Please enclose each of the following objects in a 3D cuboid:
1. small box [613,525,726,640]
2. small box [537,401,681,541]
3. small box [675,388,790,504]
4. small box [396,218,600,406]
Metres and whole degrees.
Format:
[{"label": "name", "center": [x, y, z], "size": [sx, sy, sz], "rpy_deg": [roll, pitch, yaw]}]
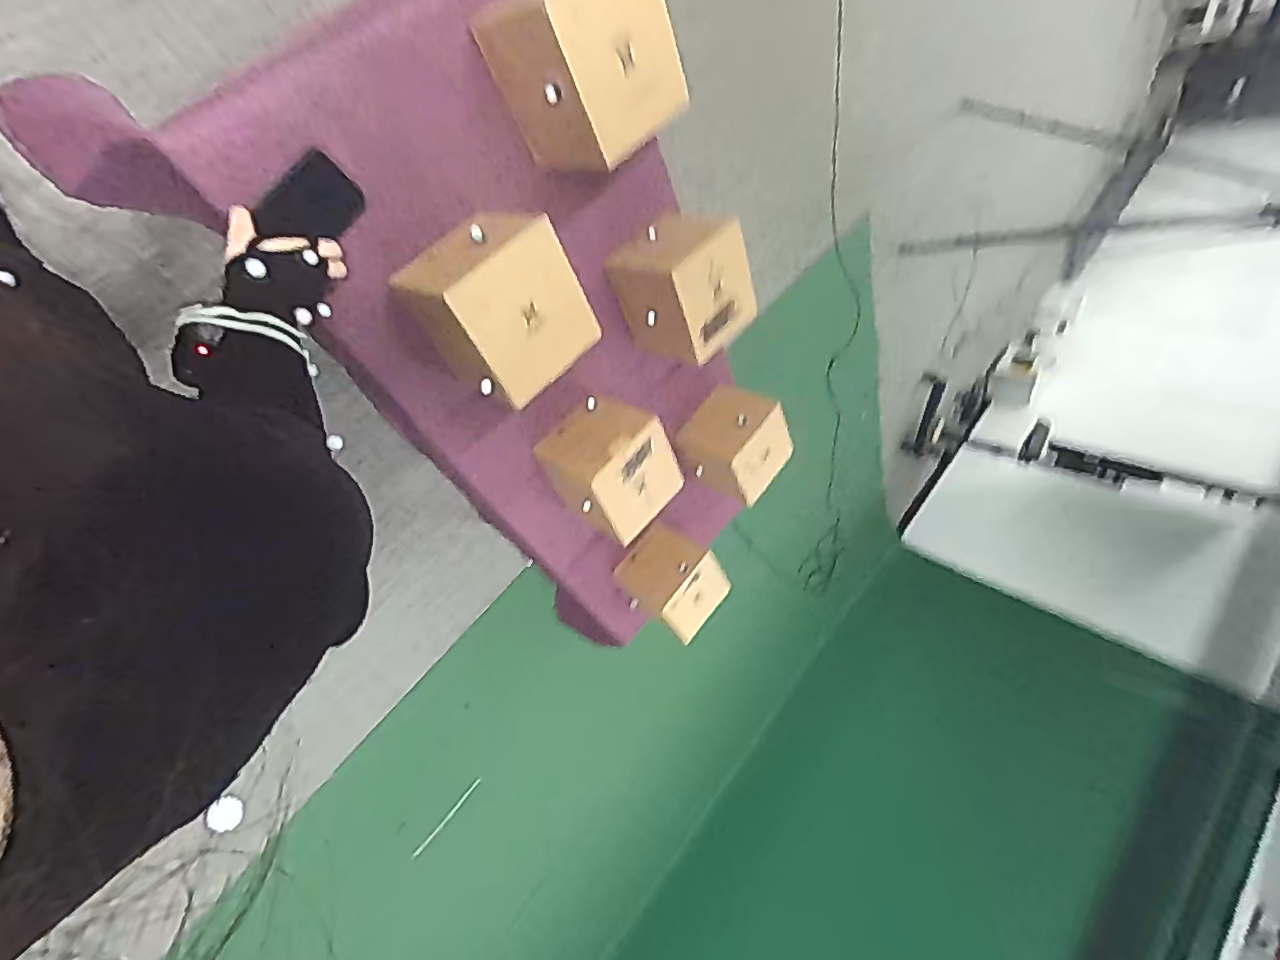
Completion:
[{"label": "small box", "center": [0.069, 0.231, 1.254], "size": [0.168, 0.176, 0.179], "rpy_deg": [-48, 138, -17]}, {"label": "small box", "center": [-0.056, -0.025, 0.987], "size": [0.168, 0.176, 0.179], "rpy_deg": [-45, 137, -19]}, {"label": "small box", "center": [0.211, -0.083, 1.230], "size": [0.179, 0.176, 0.168], "rpy_deg": [-49, 137, -15]}, {"label": "small box", "center": [-0.192, -0.233, 0.736], "size": [0.168, 0.176, 0.179], "rpy_deg": [-47, 138, -18]}]
